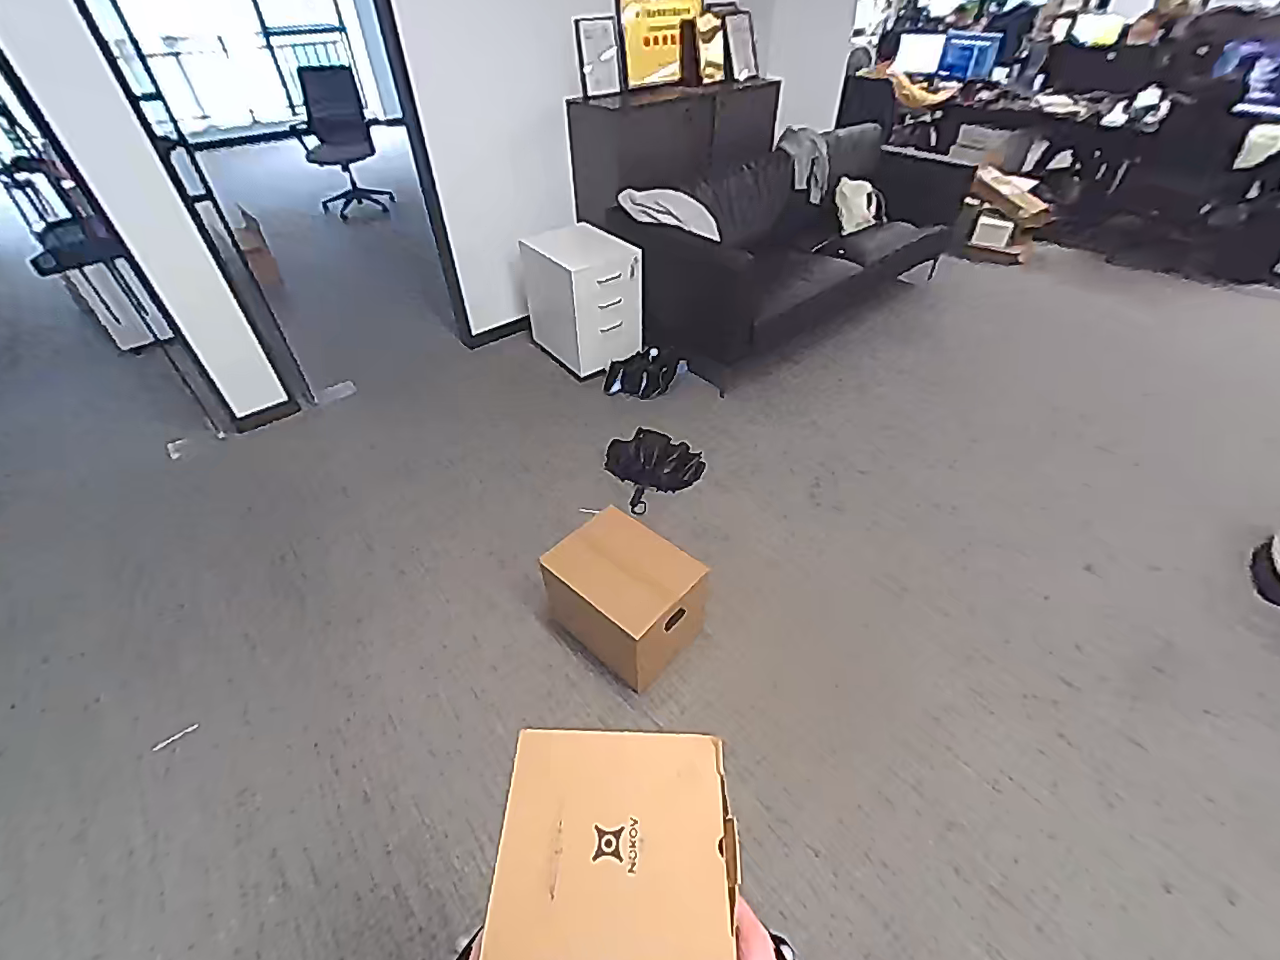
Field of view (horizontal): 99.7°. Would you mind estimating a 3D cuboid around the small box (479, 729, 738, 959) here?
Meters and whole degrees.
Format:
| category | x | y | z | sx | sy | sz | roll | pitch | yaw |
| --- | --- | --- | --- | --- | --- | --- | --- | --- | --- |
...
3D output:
| category | x | y | z | sx | sy | sz | roll | pitch | yaw |
| --- | --- | --- | --- | --- | --- | --- | --- | --- | --- |
| small box | -0.020 | 0.332 | 0.465 | 0.179 | 0.176 | 0.168 | 0 | 43 | 1 |
